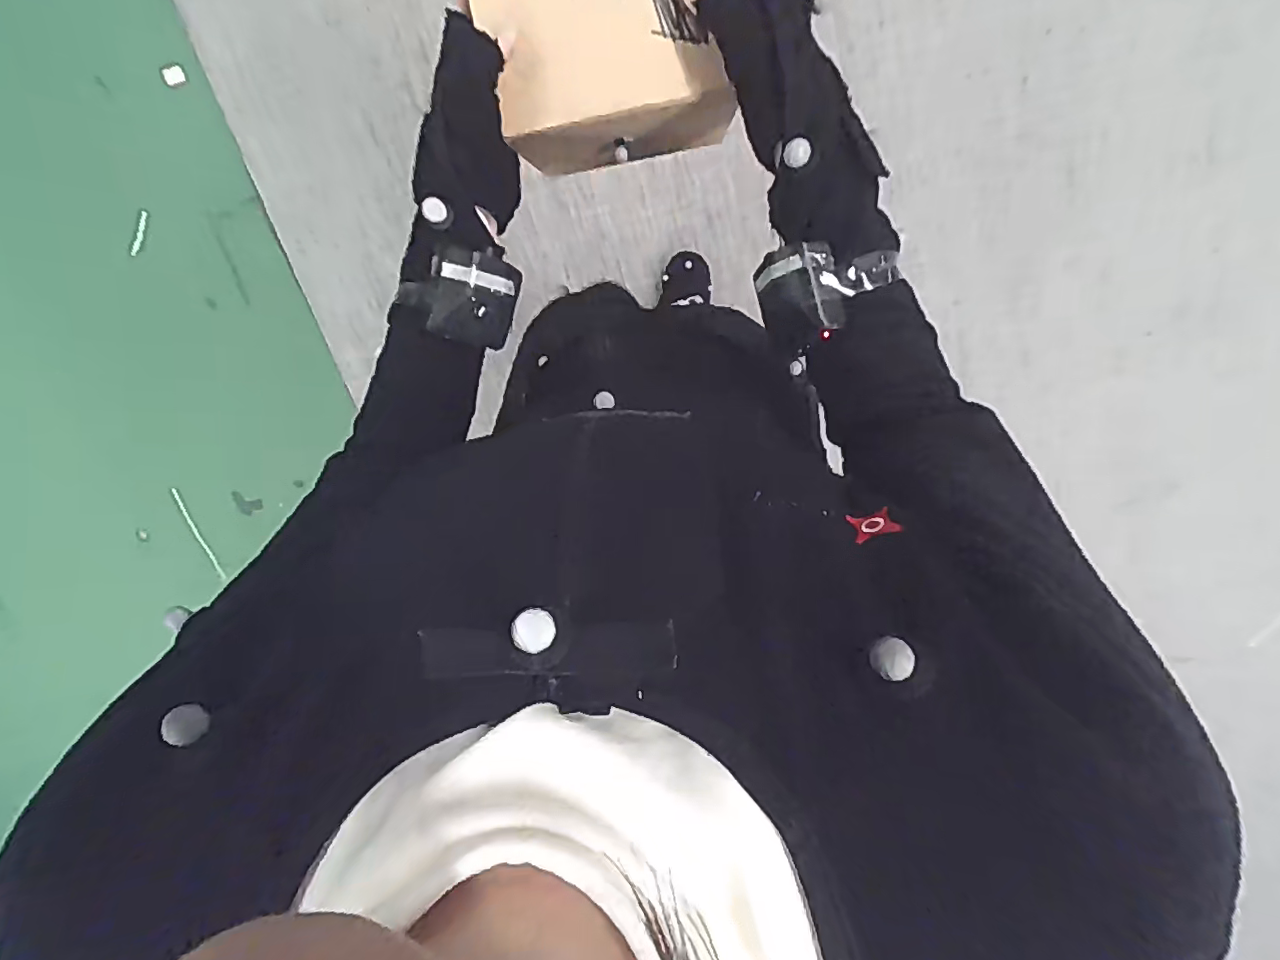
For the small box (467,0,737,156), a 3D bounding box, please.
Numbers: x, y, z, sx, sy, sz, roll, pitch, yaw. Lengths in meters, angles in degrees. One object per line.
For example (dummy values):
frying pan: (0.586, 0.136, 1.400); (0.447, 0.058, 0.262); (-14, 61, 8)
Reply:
small box: (-0.027, -0.367, 0.414); (0.179, 0.176, 0.168); (-5, 109, 5)
